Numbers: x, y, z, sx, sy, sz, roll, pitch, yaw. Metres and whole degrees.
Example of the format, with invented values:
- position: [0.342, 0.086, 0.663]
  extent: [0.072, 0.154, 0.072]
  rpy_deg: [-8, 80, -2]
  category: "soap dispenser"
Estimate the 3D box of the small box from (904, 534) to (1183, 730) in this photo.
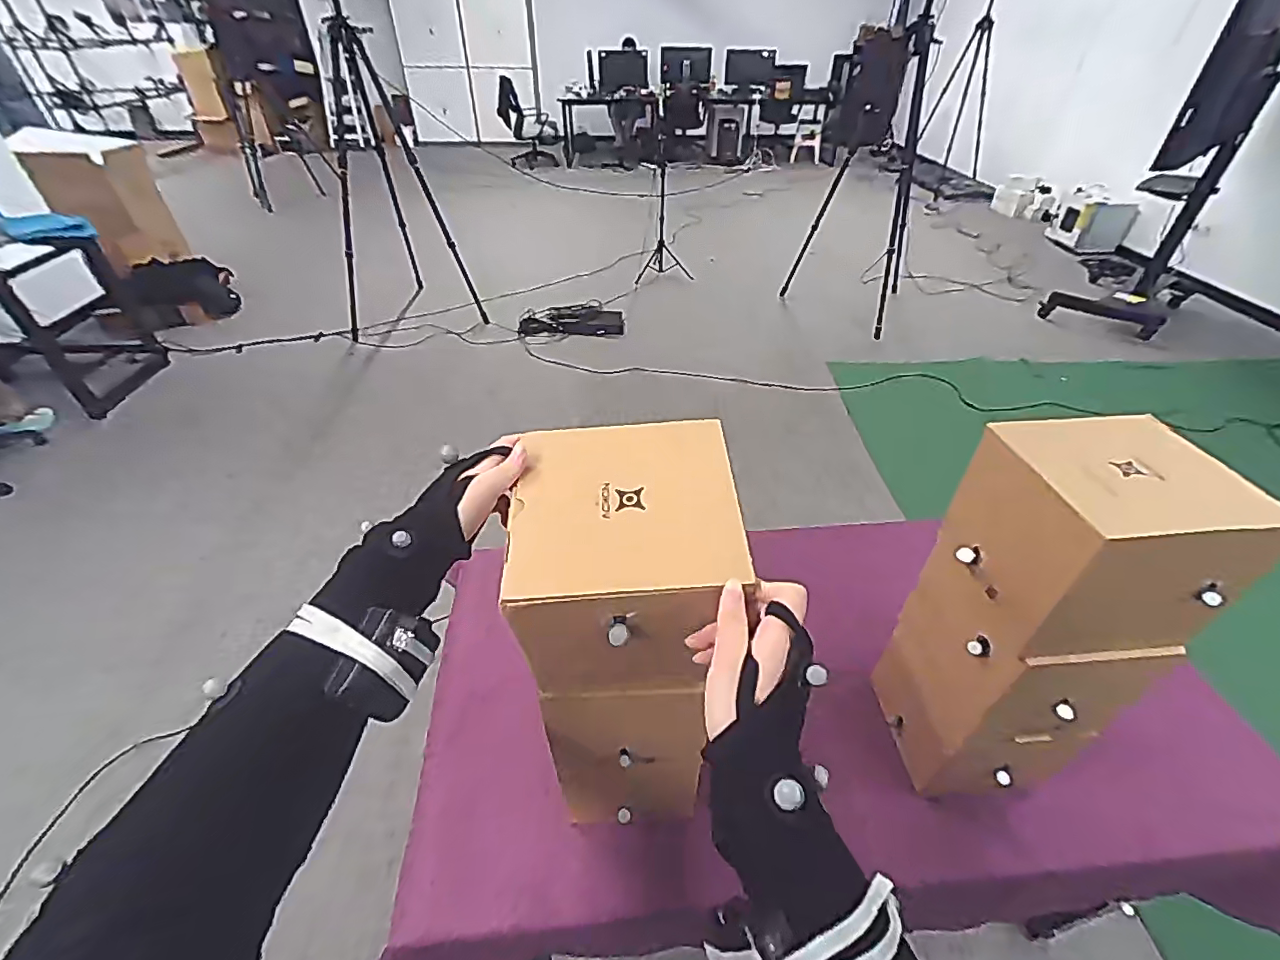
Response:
- position: [0.448, 0.178, 0.640]
  extent: [0.168, 0.176, 0.179]
  rpy_deg: [-3, 41, -3]
  category: "small box"

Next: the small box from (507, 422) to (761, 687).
- position: [-0.004, 0.069, 0.476]
  extent: [0.179, 0.176, 0.168]
  rpy_deg: [-4, 49, 1]
  category: "small box"

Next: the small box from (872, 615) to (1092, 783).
- position: [0.451, 0.302, 0.750]
  extent: [0.168, 0.176, 0.179]
  rpy_deg: [-2, 42, -3]
  category: "small box"

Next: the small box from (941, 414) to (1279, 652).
- position: [0.443, 0.052, 0.537]
  extent: [0.179, 0.176, 0.168]
  rpy_deg: [-3, 40, -3]
  category: "small box"

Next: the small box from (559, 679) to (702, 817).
- position: [-0.014, 0.324, 0.723]
  extent: [0.168, 0.176, 0.179]
  rpy_deg: [-2, 42, -2]
  category: "small box"
